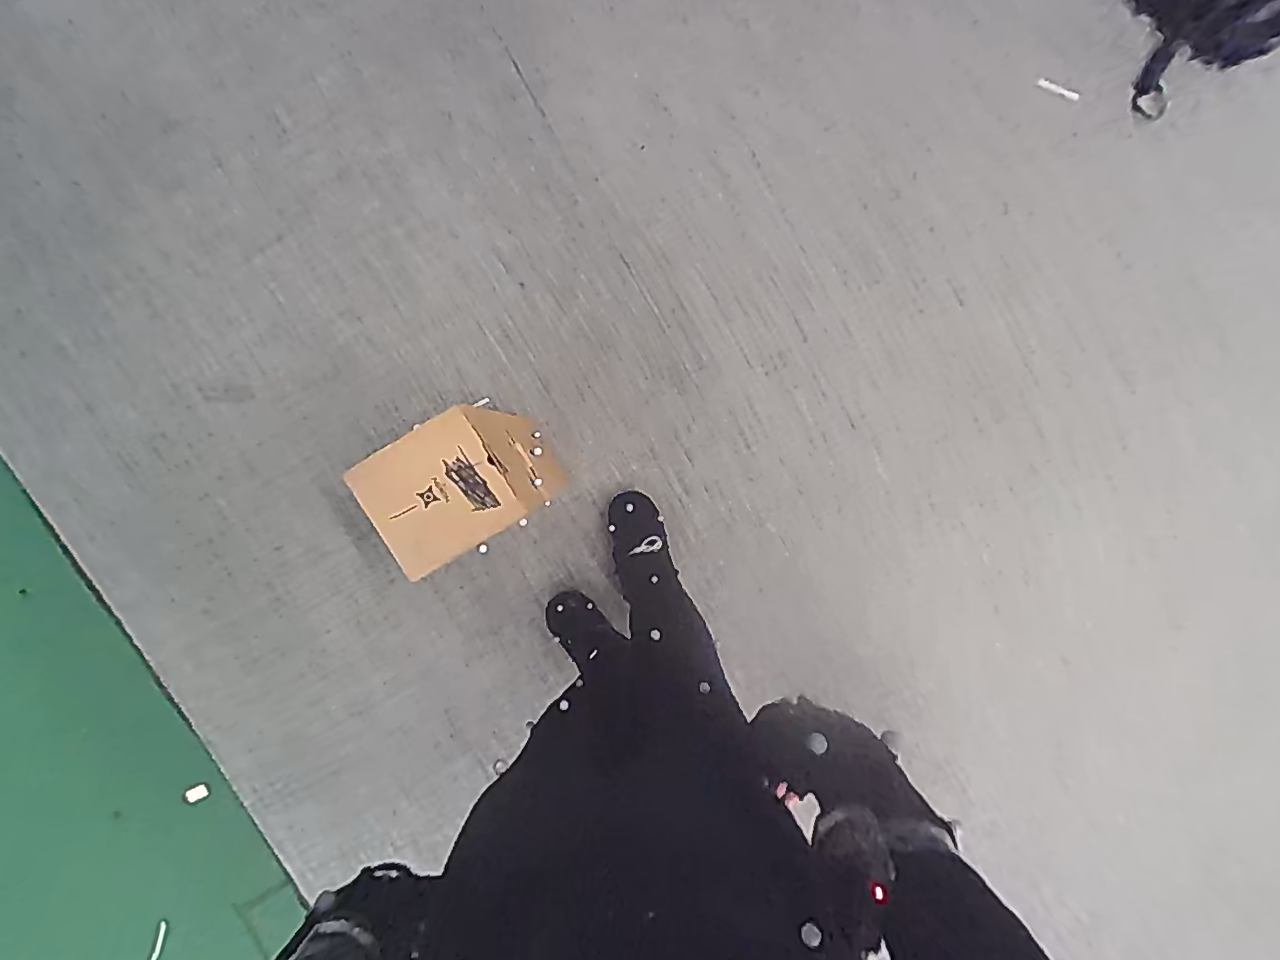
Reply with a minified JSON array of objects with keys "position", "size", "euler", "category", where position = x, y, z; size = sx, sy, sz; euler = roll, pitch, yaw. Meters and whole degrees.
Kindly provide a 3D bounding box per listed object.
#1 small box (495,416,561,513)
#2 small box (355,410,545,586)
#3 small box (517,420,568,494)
[{"position":[-0.249,0.004,0.930],"size":[0.179,0.176,0.168],"euler":[-31,94,1],"category":"small box"},{"position":[-0.250,0.017,0.766],"size":[0.179,0.176,0.168],"euler":[-34,95,1],"category":"small box"},{"position":[-0.259,-0.010,1.093],"size":[0.179,0.176,0.168],"euler":[-31,94,3],"category":"small box"}]
